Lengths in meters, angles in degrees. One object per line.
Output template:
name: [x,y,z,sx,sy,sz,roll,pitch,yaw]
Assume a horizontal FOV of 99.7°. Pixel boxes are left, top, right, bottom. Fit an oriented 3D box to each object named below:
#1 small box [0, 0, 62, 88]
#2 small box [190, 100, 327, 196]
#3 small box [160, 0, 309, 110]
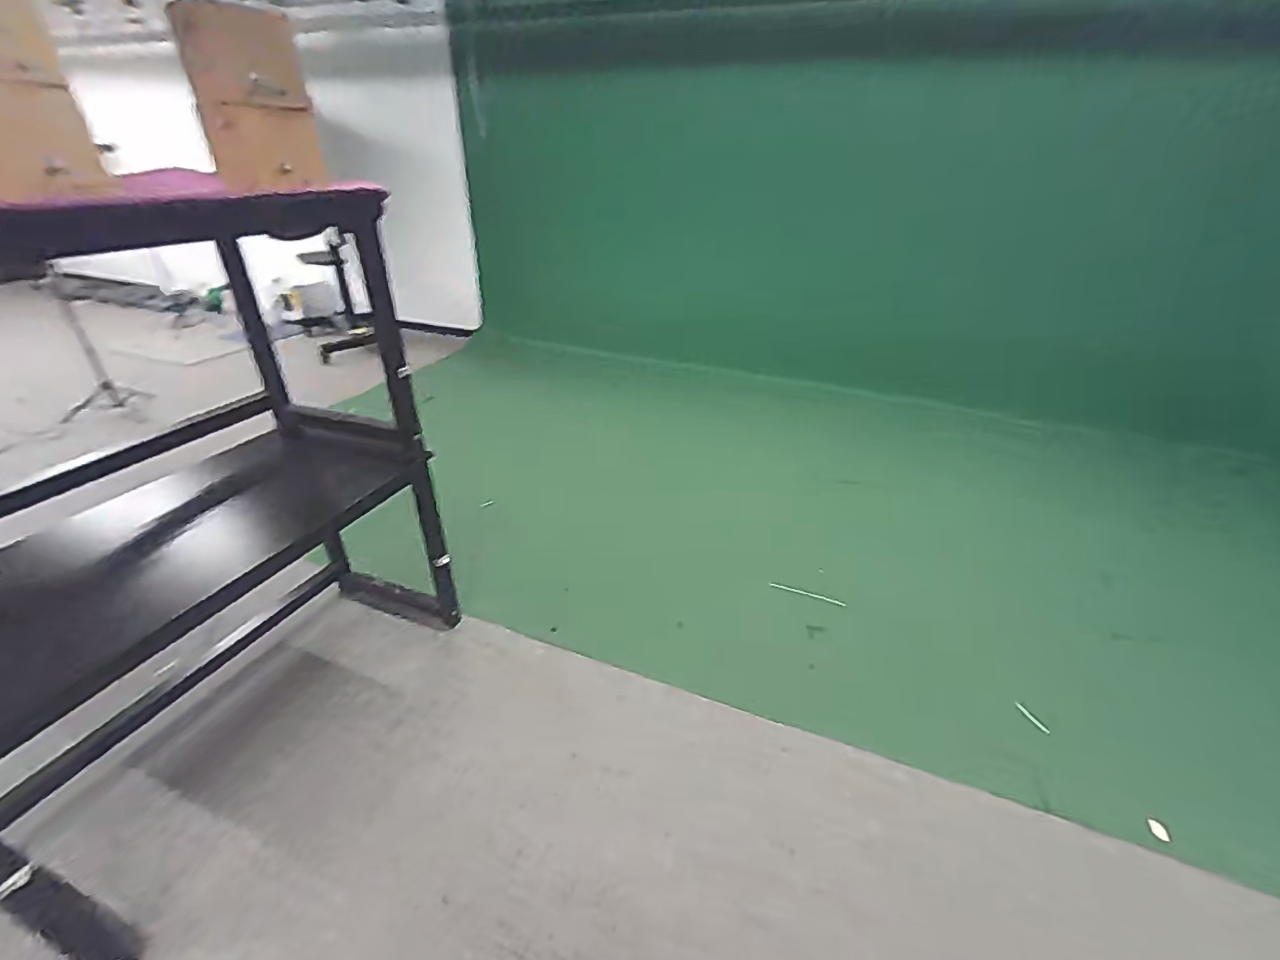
small box: [-1.033,-0.686,0.795,0.179,0.176,0.168,11,32,16]
small box: [-0.834,-0.729,1.195,0.179,0.176,0.168,20,36,26]
small box: [-0.822,-0.865,1.107,0.179,0.176,0.168,23,39,28]
